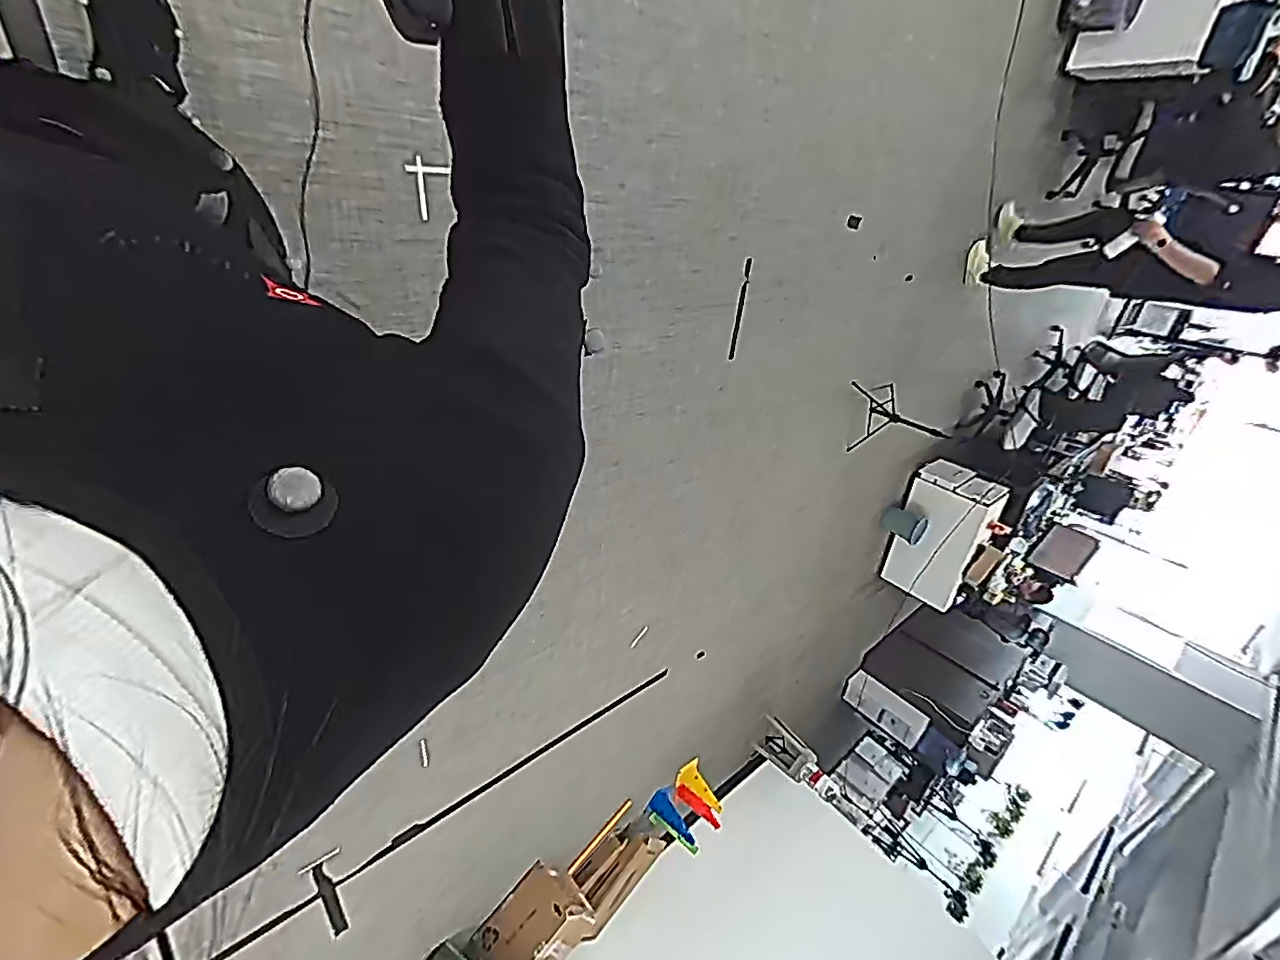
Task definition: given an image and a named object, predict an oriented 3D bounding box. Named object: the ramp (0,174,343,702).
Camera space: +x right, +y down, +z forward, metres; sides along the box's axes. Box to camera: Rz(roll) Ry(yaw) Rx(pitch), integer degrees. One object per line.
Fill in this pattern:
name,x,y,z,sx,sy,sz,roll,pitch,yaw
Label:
ramp,-0.975,-0.057,1.117,0.509,0.206,0.991,-17,124,-36
